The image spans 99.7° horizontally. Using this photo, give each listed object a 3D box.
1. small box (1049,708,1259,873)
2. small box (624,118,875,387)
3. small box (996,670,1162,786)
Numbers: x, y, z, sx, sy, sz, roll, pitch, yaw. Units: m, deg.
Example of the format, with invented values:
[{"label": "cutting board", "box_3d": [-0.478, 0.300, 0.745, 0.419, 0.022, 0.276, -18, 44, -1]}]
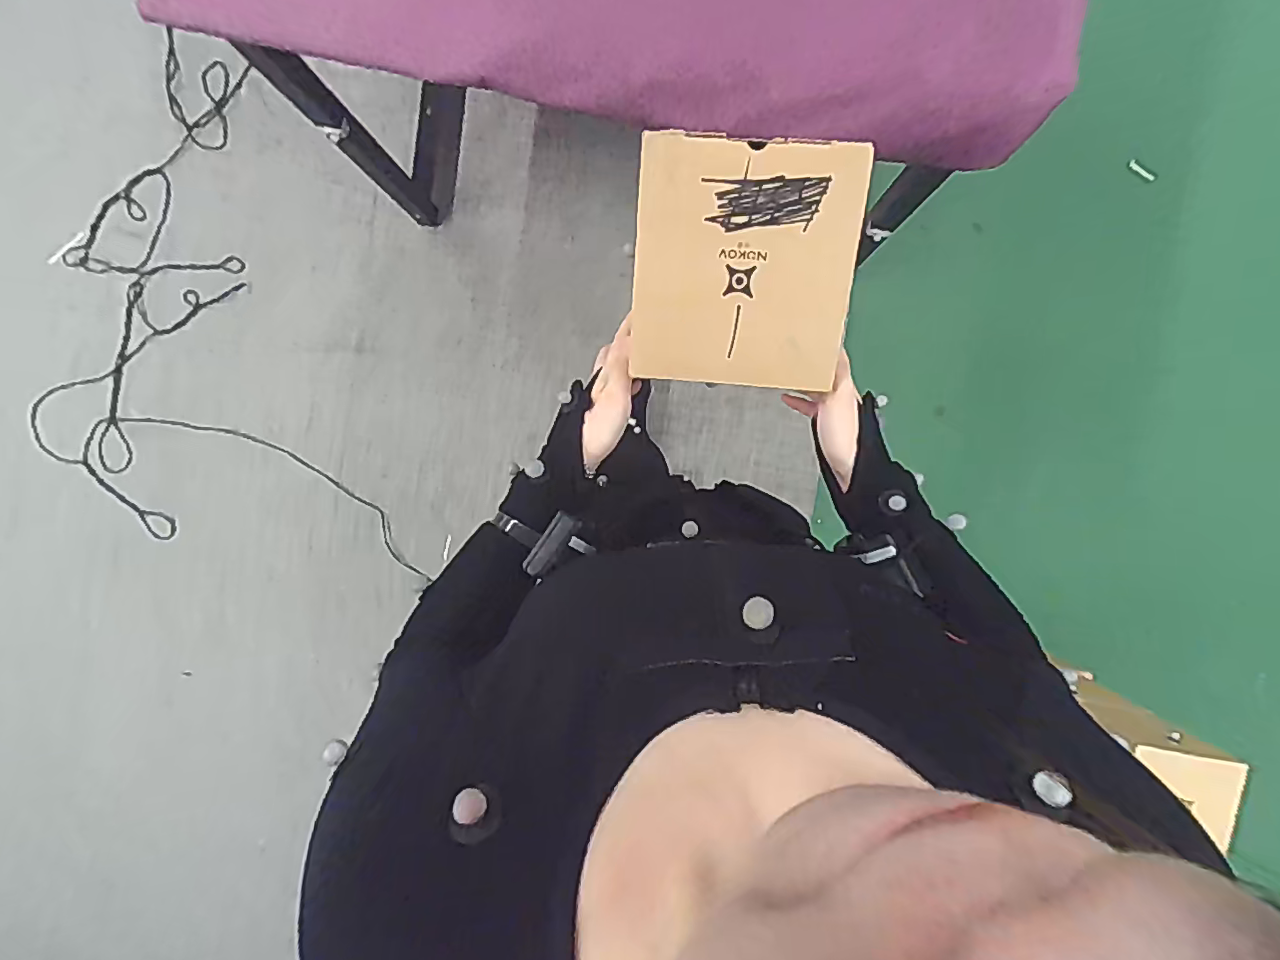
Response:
[{"label": "small box", "box_3d": [0.848, 0.508, 0.909, 0.179, 0.176, 0.168, 10, 93, 2]}, {"label": "small box", "box_3d": [0.080, -0.185, 0.473, 0.168, 0.176, 0.179, 6, 108, 4]}, {"label": "small box", "box_3d": [0.858, 0.499, 1.074, 0.179, 0.176, 0.168, 11, 93, 2]}]
